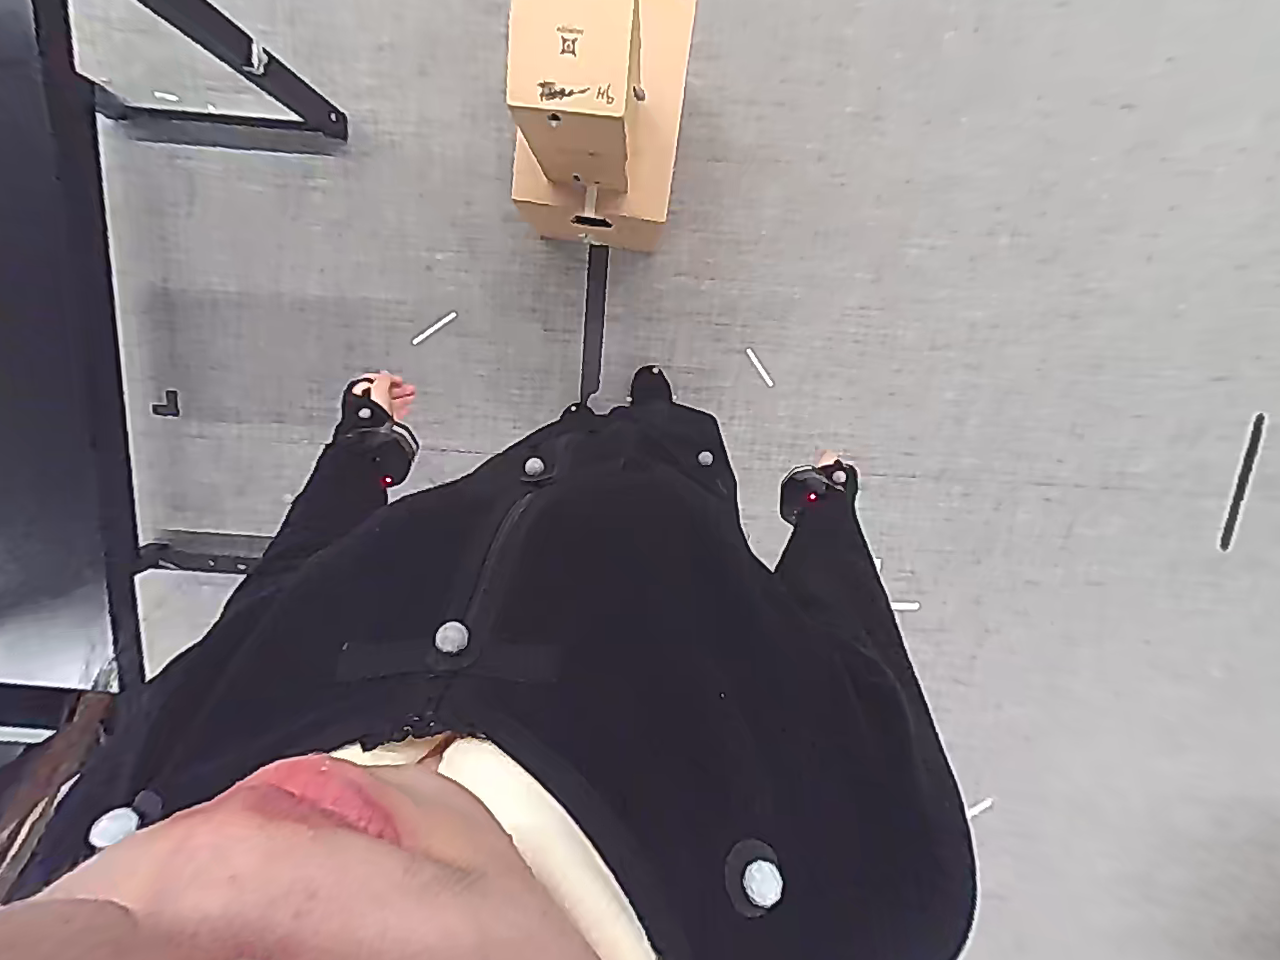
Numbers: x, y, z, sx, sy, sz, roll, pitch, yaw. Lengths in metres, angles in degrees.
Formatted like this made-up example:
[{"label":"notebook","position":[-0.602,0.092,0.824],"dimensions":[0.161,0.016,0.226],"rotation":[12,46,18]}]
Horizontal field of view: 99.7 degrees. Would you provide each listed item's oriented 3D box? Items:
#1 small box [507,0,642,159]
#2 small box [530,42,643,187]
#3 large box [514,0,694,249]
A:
[{"label":"small box","position":[-0.088,-0.607,0.793],"dimensions":[0.168,0.176,0.179],"rotation":[7,101,0]},{"label":"small box","position":[-0.089,-0.646,0.952],"dimensions":[0.168,0.176,0.179],"rotation":[8,103,-1]},{"label":"large box","position":[-0.075,-0.761,1.177],"dimensions":[0.320,0.320,0.408],"rotation":[7,101,-3]}]
